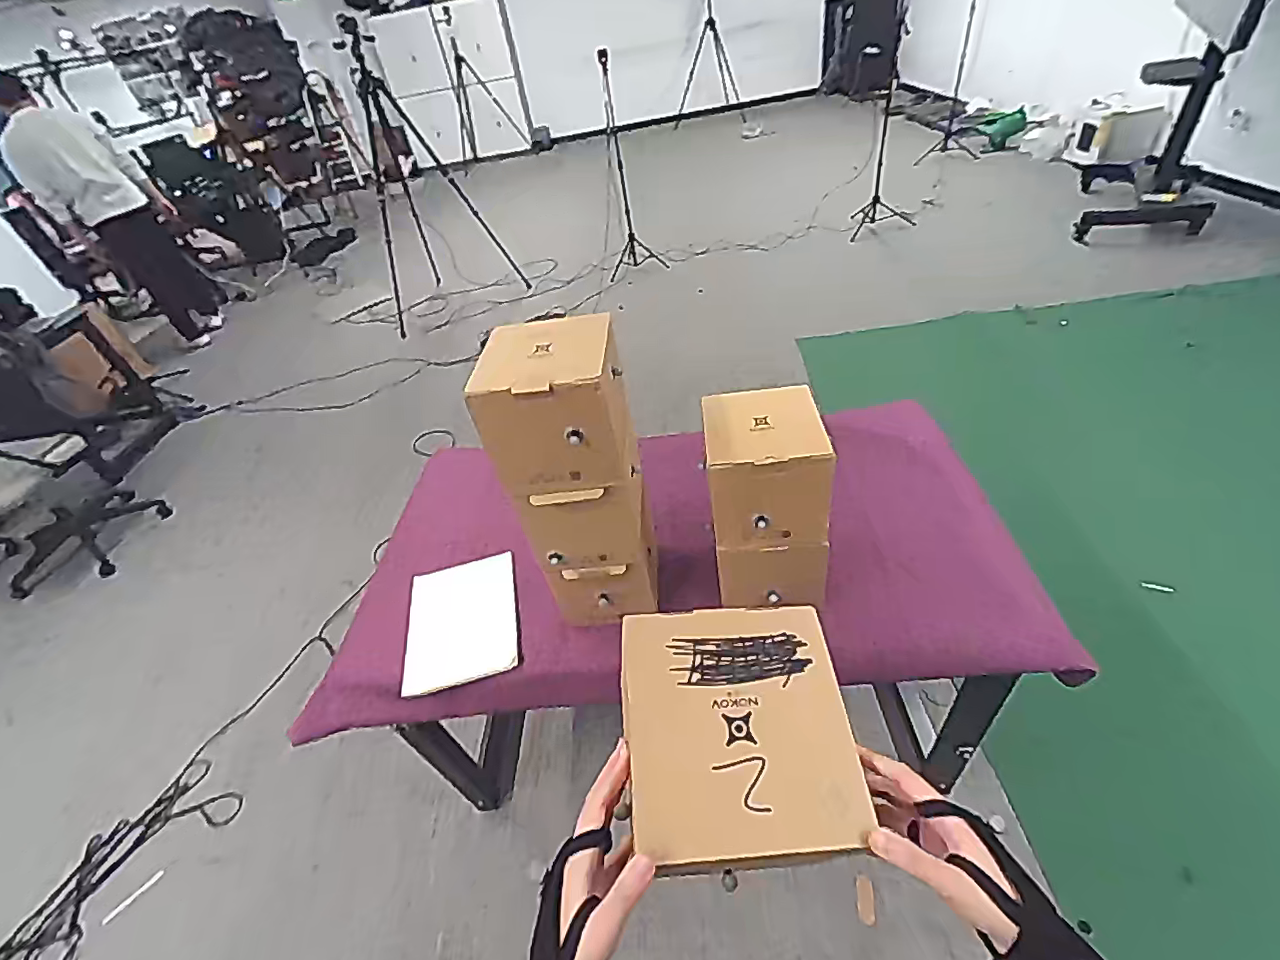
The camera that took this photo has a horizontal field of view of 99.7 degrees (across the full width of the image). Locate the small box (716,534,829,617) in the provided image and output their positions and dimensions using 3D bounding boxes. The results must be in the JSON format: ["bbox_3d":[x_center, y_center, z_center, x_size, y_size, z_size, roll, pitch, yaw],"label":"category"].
[{"bbox_3d":[0.215,0.111,0.924,0.168,0.176,0.179,-7,40,8],"label":"small box"}]

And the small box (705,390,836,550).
[{"bbox_3d":[0.188,-0.015,0.824,0.168,0.176,0.179,-5,41,7],"label":"small box"}]

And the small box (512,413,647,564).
[{"bbox_3d":[-0.082,0.019,0.848,0.168,0.176,0.179,-6,40,7],"label":"small box"}]

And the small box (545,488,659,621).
[{"bbox_3d":[-0.056,0.137,0.961,0.168,0.176,0.179,-5,42,6],"label":"small box"}]

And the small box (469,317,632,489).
[{"bbox_3d":[-0.106,-0.099,0.738,0.168,0.176,0.179,-5,41,7],"label":"small box"}]
